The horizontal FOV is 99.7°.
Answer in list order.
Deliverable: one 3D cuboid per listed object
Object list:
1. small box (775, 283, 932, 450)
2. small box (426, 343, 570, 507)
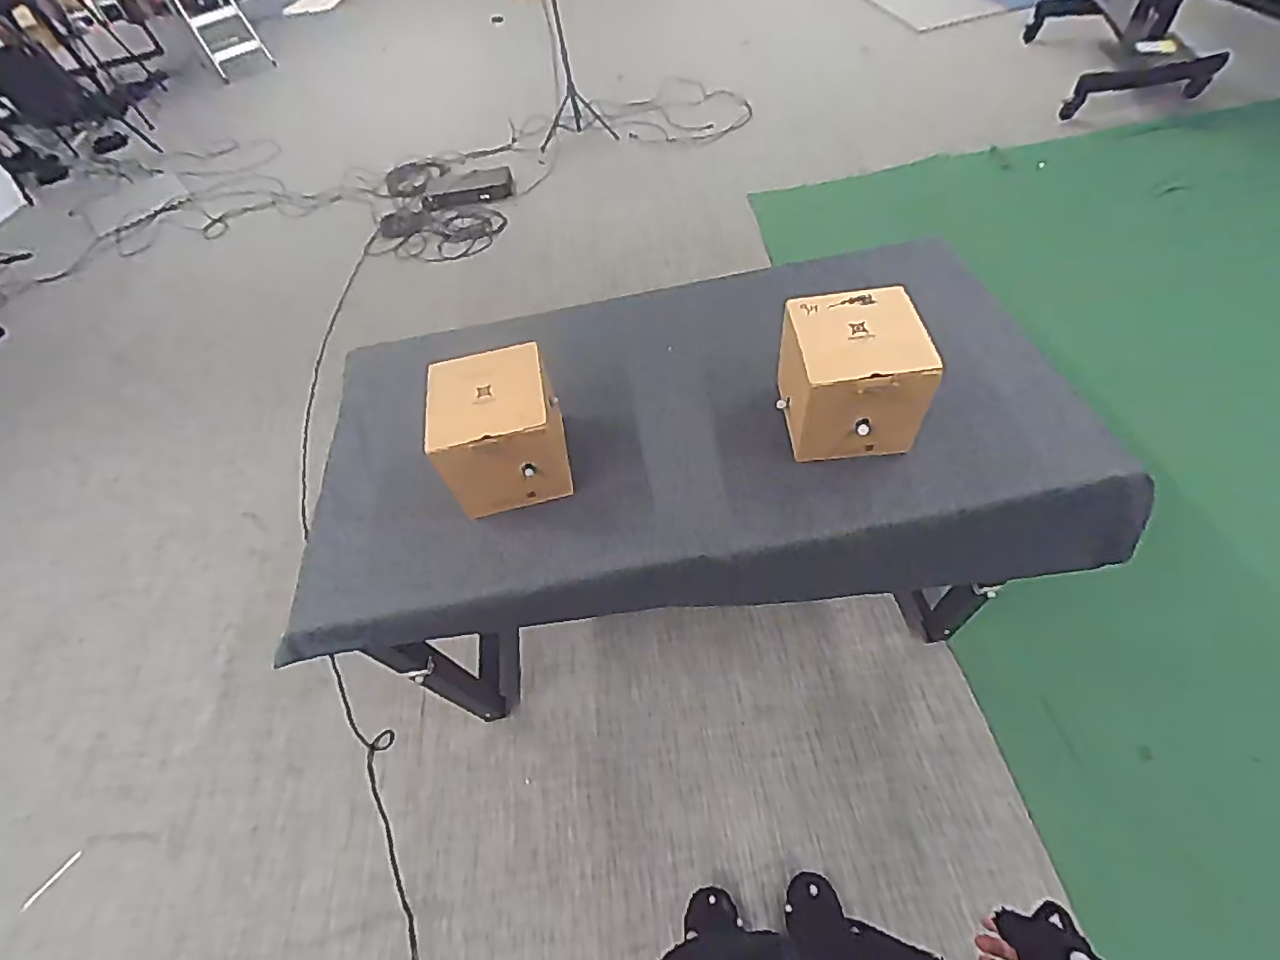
[{"bbox_3d":[0.299,-0.157,0.799,0.168,0.176,0.179,-6,56,5],"label":"small box"},{"bbox_3d":[-0.211,-0.075,0.828,0.168,0.176,0.179,-14,54,-2],"label":"small box"}]
